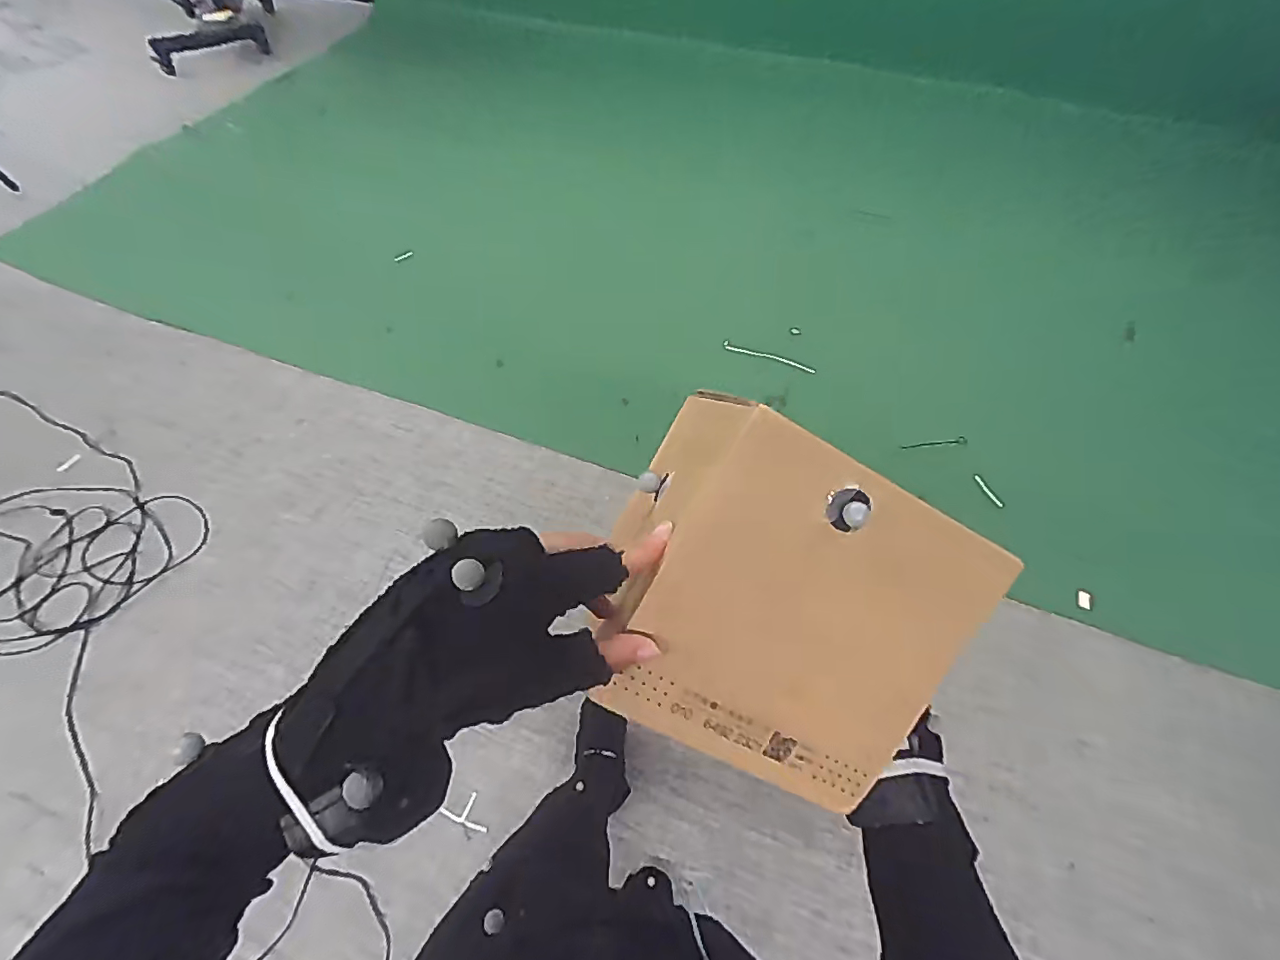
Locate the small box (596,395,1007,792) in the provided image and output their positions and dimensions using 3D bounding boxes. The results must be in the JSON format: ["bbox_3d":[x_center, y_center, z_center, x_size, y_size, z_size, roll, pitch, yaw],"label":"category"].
[{"bbox_3d":[0.079,0.058,0.366,0.168,0.179,0.176,29,97,-10],"label":"small box"}]
